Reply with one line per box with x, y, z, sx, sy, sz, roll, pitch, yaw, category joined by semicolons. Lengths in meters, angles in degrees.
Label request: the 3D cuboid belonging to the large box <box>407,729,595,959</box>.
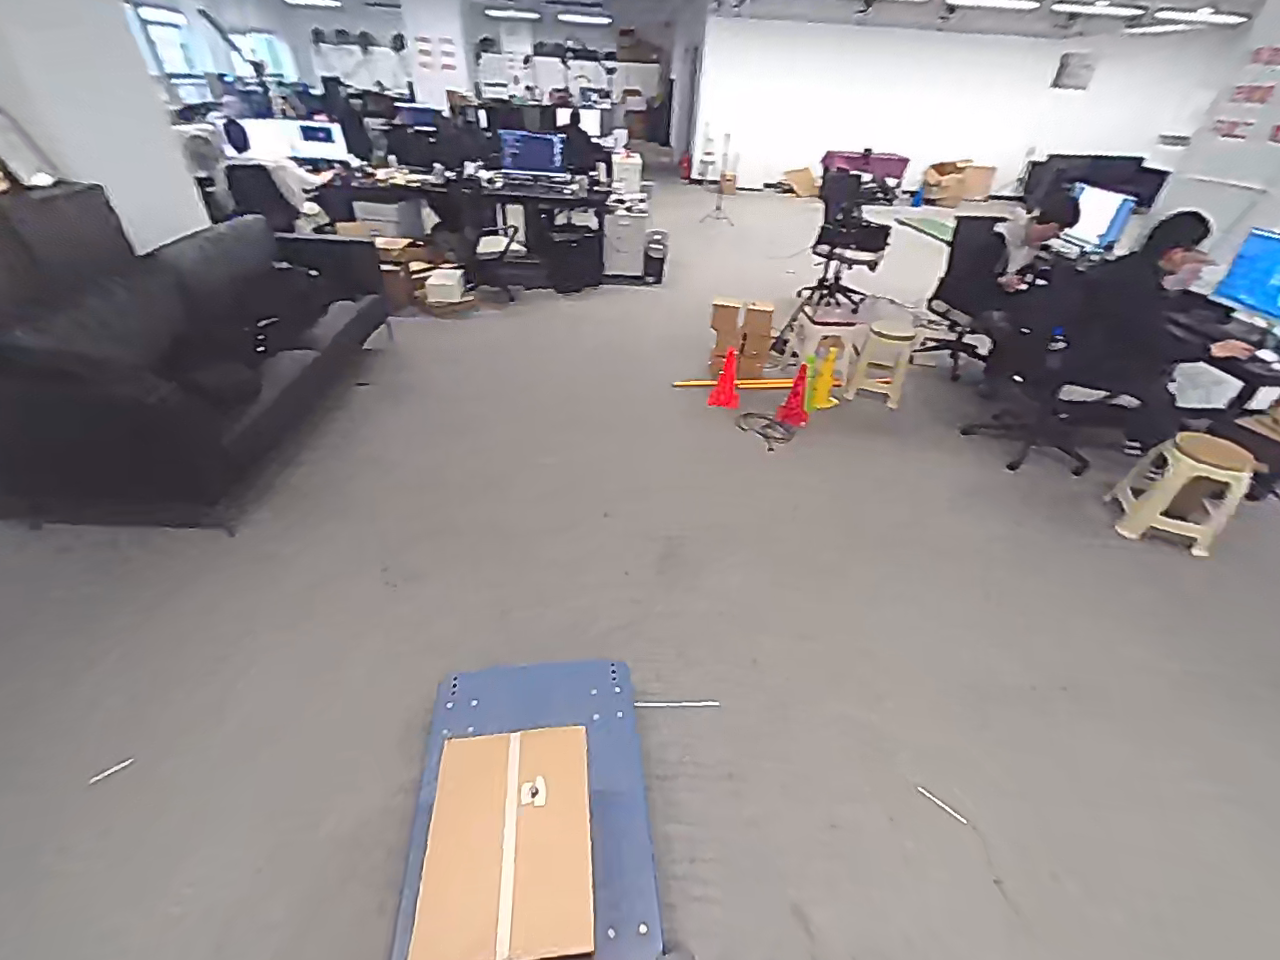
-0.264;0.813;1.140;0.320;0.320;0.408;-2;36;-8;large box
